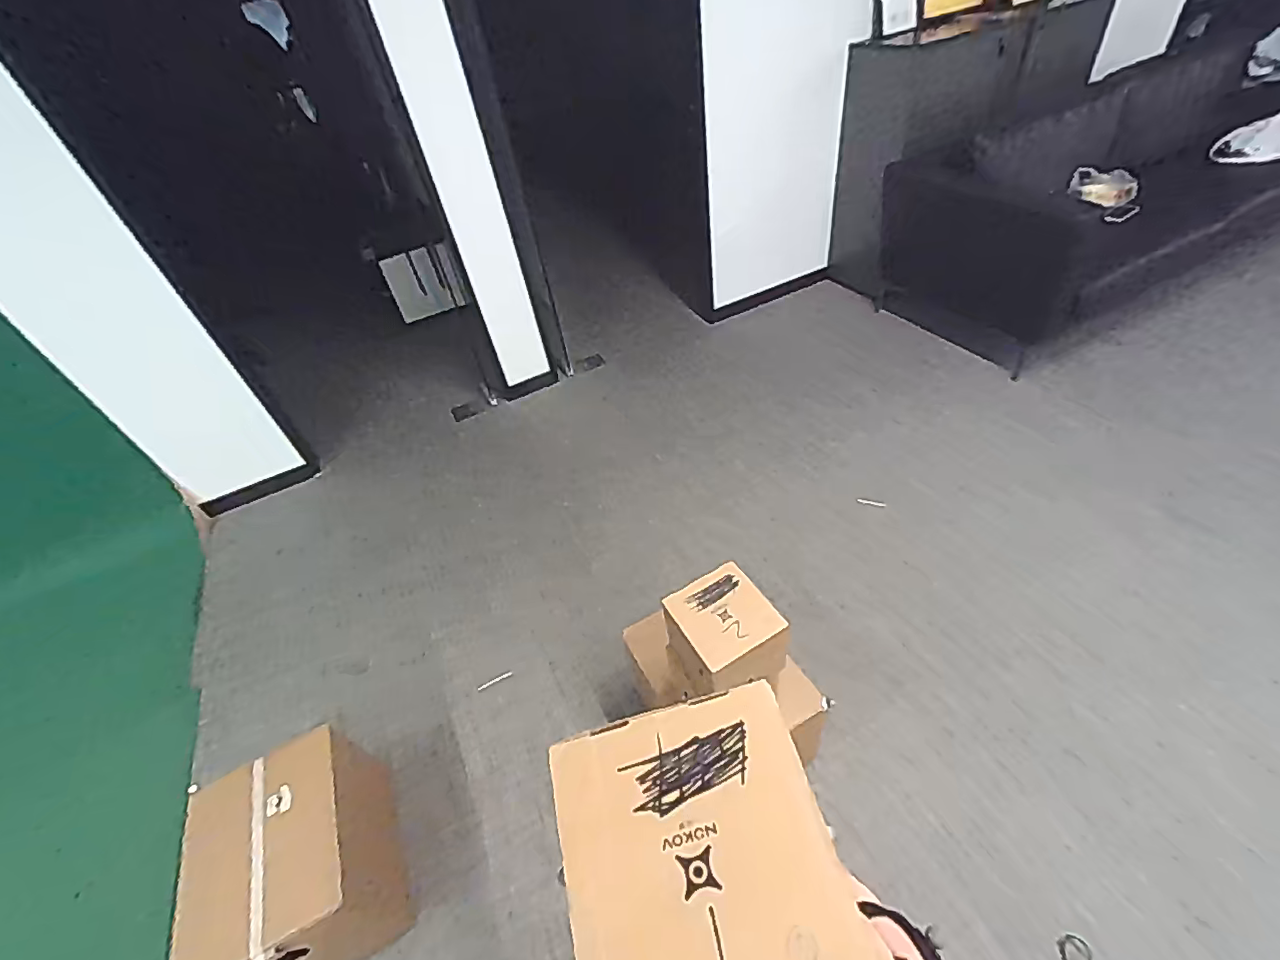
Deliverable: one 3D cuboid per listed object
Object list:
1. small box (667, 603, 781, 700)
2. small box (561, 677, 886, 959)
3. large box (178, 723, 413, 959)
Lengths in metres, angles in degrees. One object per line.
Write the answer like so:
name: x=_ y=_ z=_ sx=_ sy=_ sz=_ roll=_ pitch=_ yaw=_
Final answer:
small box: x=0.179 y=0.406 z=1.162 sx=0.179 sy=0.176 sz=0.168 roll=-28 pitch=47 yaw=-14
small box: x=0.050 y=0.275 z=0.399 sx=0.168 sy=0.176 sz=0.179 roll=-16 pitch=54 yaw=-2
large box: x=-0.761 y=0.862 z=1.229 sx=0.320 sy=0.320 sz=0.408 roll=-26 pitch=45 yaw=-14
